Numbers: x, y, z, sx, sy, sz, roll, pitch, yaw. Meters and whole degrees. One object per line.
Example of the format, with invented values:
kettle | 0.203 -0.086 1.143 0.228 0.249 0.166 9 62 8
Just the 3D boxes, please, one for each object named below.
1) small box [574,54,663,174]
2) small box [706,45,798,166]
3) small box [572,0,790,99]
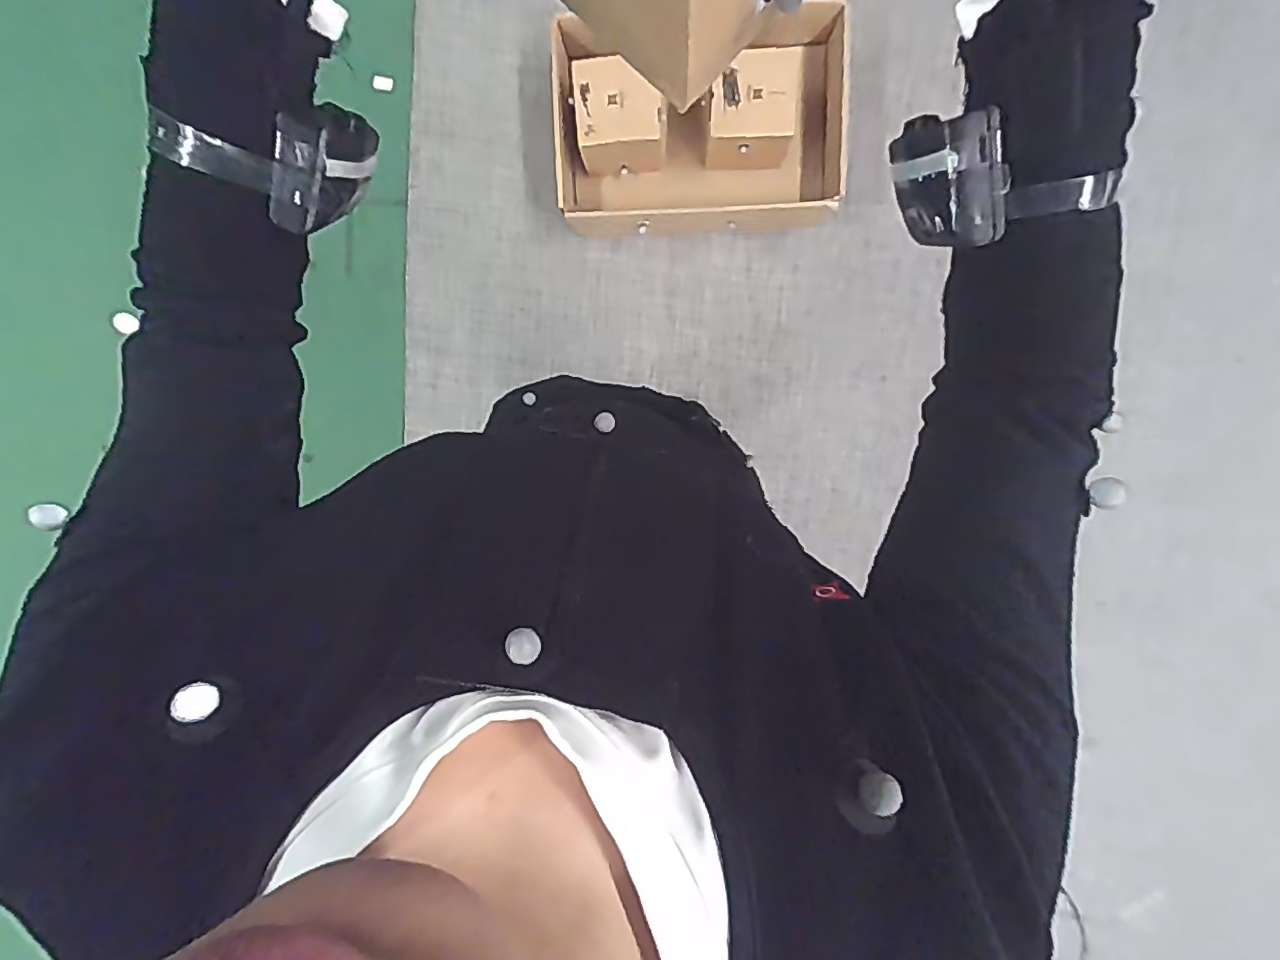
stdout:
small box | -0.044 -0.802 1.198 0.179 0.176 0.168 -4 98 2
small box | 0.236 -0.808 1.183 0.179 0.176 0.168 1 100 3
small box | 0.016 -0.337 0.251 0.179 0.176 0.168 43 97 -2
